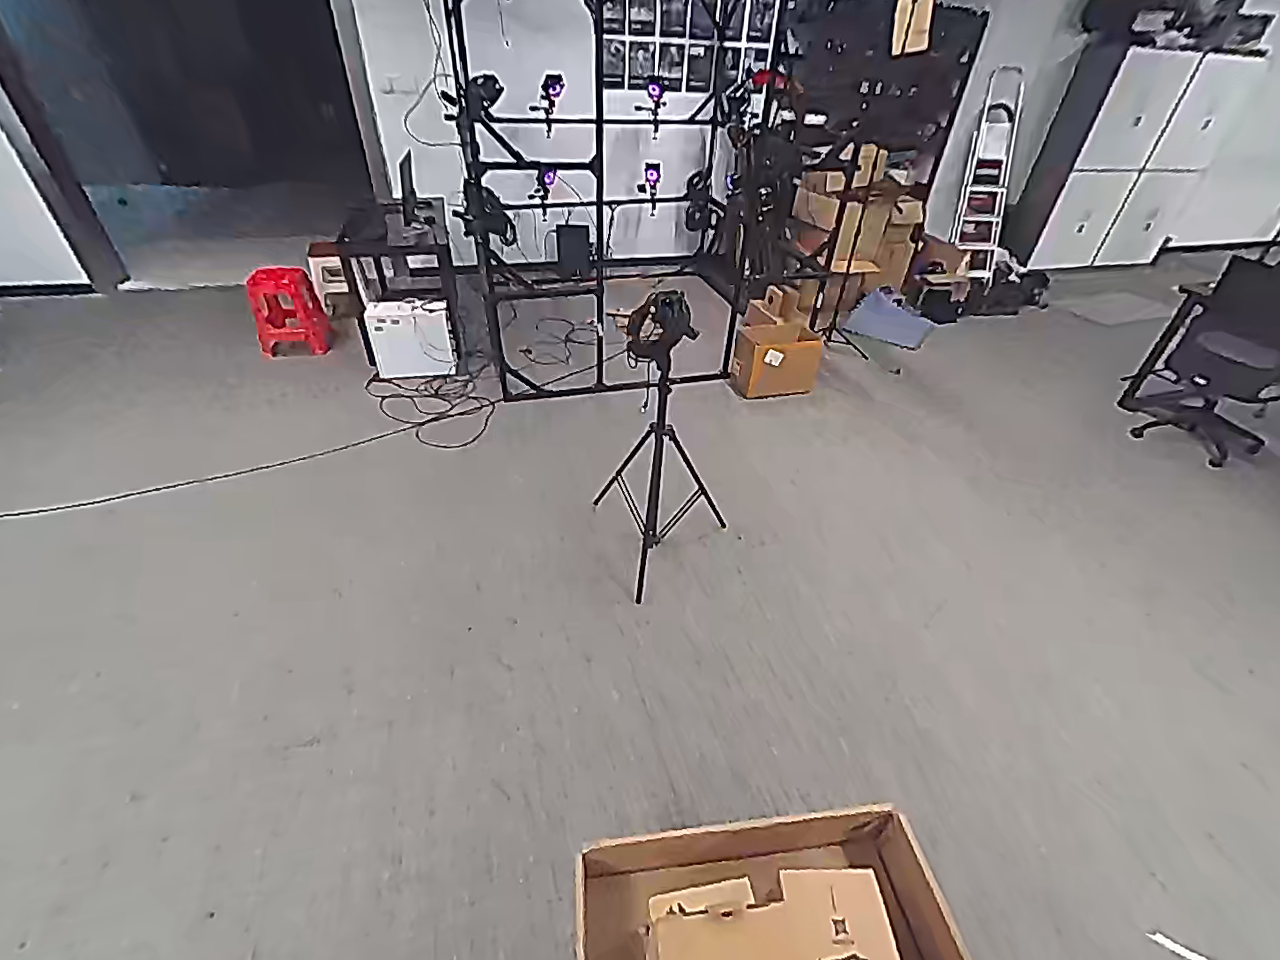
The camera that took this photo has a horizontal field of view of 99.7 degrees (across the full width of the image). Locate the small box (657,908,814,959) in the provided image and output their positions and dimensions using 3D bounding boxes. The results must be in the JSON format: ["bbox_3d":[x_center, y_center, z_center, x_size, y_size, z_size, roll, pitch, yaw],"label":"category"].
[{"bbox_3d":[0.106,0.606,0.585,0.168,0.176,0.179,-2,36,-6],"label":"small box"}]
